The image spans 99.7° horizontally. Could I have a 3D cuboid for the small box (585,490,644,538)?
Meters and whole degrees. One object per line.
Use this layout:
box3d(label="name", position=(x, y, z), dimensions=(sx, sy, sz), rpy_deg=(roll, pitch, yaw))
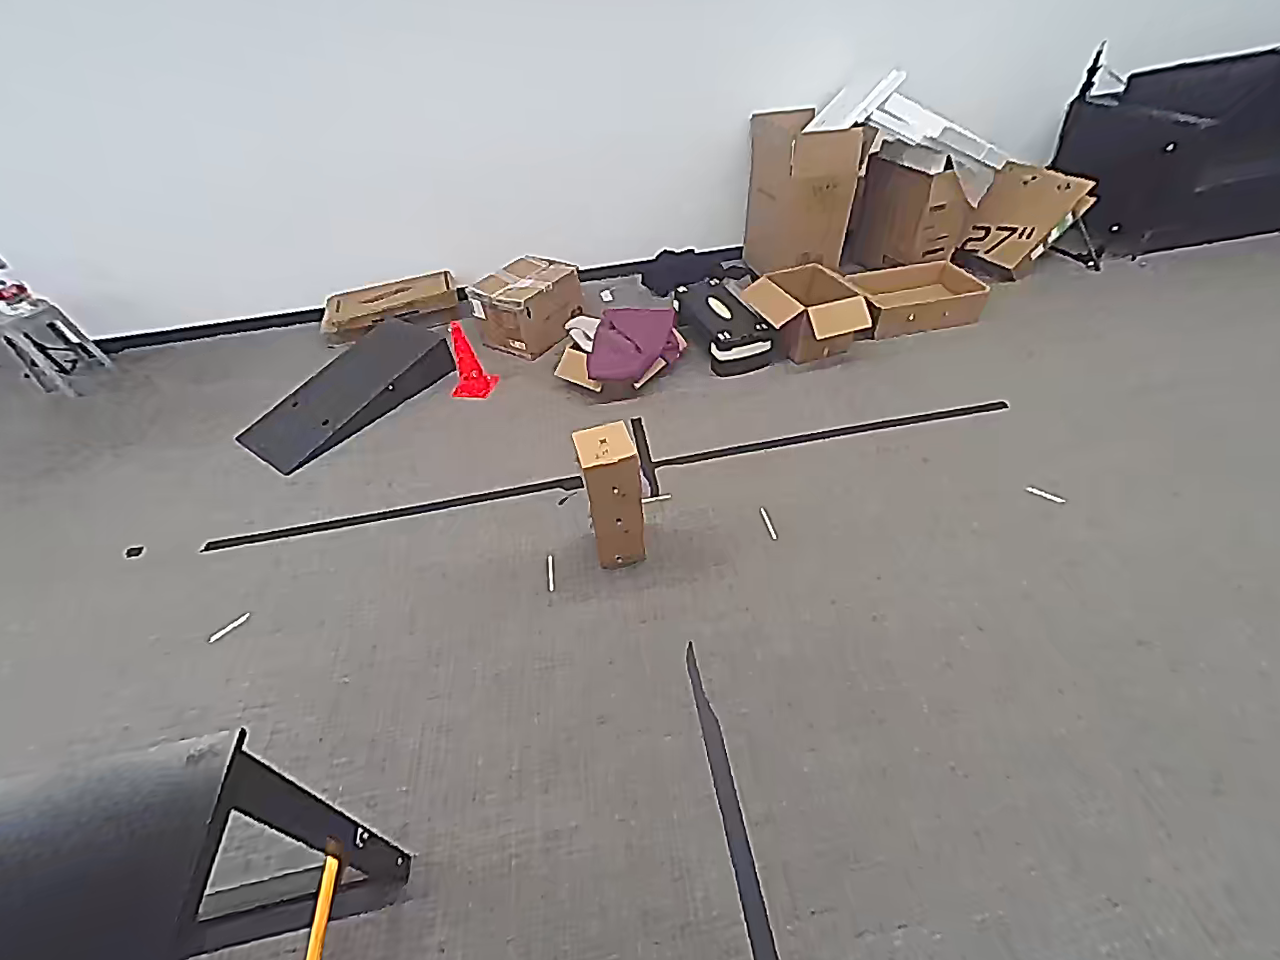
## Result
box3d(label="small box", position=(-0.085, 0.072, 1.765), dimensions=(0.168, 0.176, 0.179), rpy_deg=(-12, 44, -4))

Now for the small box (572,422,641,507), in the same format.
box3d(label="small box", position=(-0.101, -0.046, 1.649), dimensions=(0.168, 0.176, 0.179), rpy_deg=(-15, 44, -8))

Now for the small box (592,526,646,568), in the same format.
box3d(label="small box", position=(-0.079, 0.180, 1.889), dimensions=(0.168, 0.176, 0.179), rpy_deg=(-12, 45, -5))
